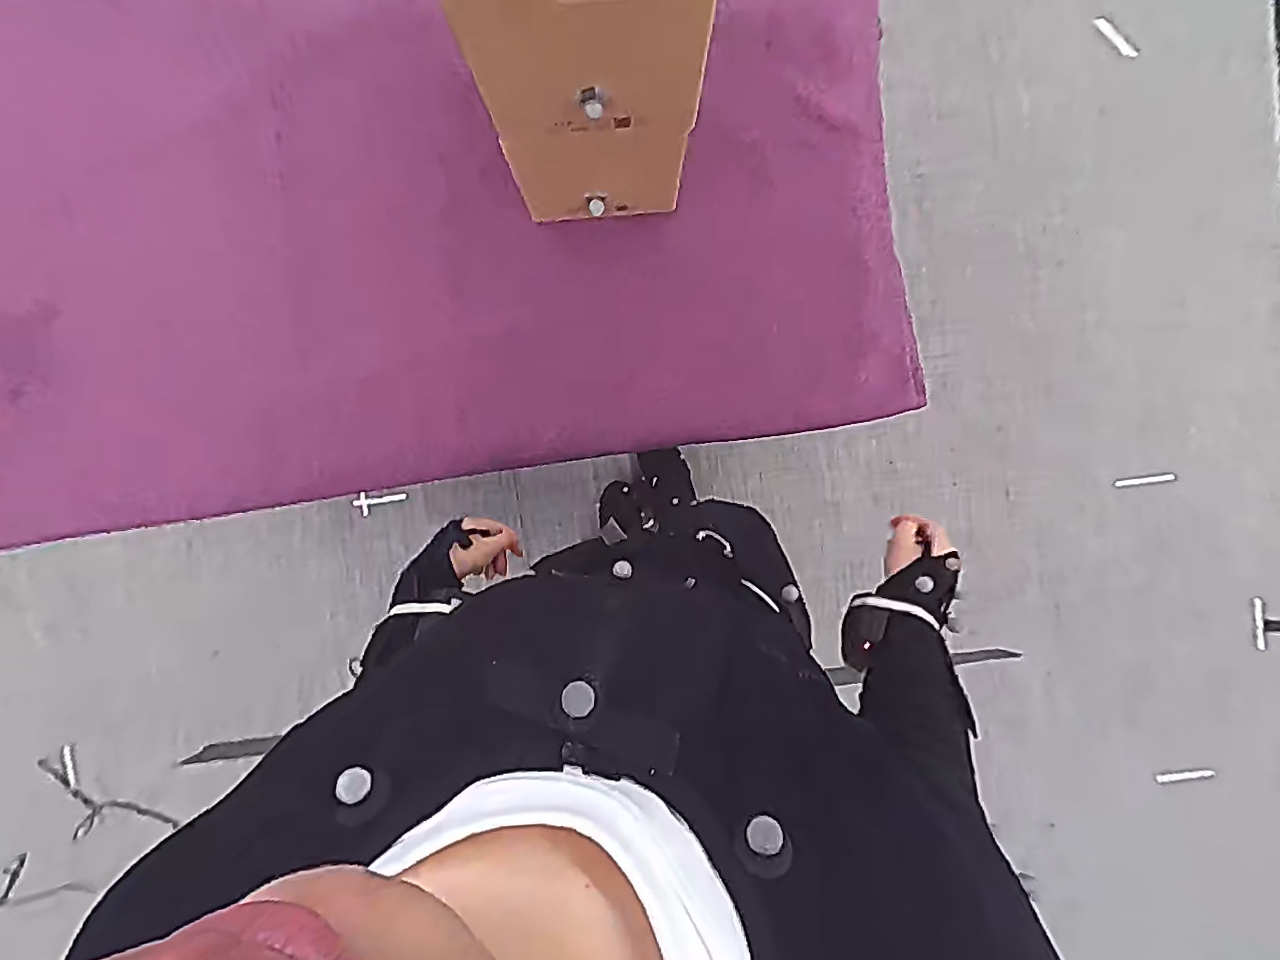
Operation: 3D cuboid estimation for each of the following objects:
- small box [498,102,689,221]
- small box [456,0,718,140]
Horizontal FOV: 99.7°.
[{"bbox_3d":[-0.045,-0.384,0.538,0.168,0.176,0.179,-4,94,0],"label":"small box"},{"bbox_3d":[-0.040,-0.374,0.373,0.168,0.176,0.179,-4,94,0],"label":"small box"}]
